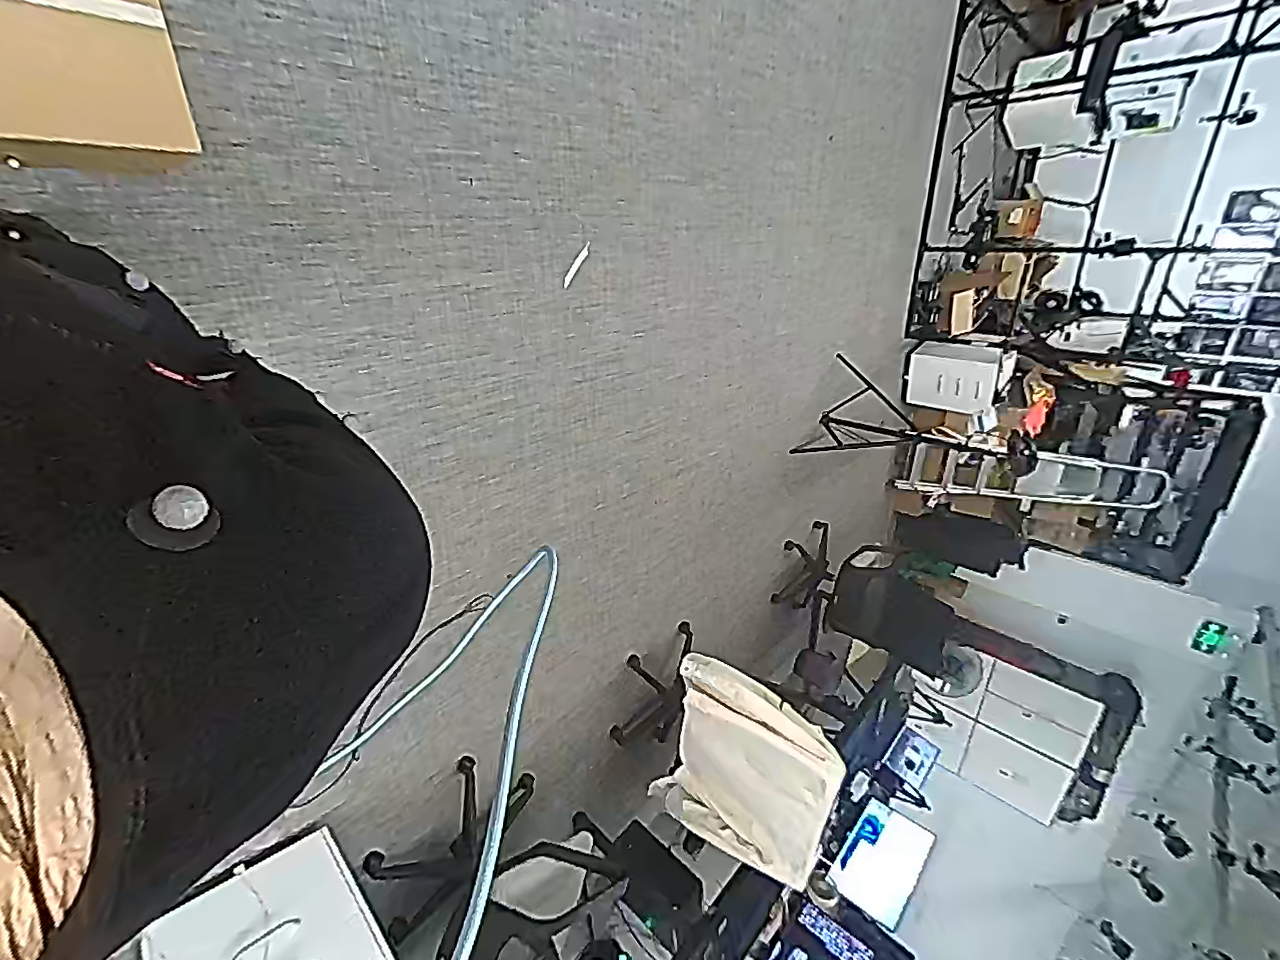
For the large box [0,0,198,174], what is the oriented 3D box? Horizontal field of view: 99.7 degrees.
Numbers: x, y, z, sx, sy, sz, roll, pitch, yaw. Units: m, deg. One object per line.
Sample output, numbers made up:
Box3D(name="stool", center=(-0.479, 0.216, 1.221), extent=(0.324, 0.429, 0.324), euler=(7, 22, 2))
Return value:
Box3D(name="large box", center=(-0.899, -0.597, 0.702), extent=(0.408, 0.320, 0.320), euler=(-24, 123, -41))
